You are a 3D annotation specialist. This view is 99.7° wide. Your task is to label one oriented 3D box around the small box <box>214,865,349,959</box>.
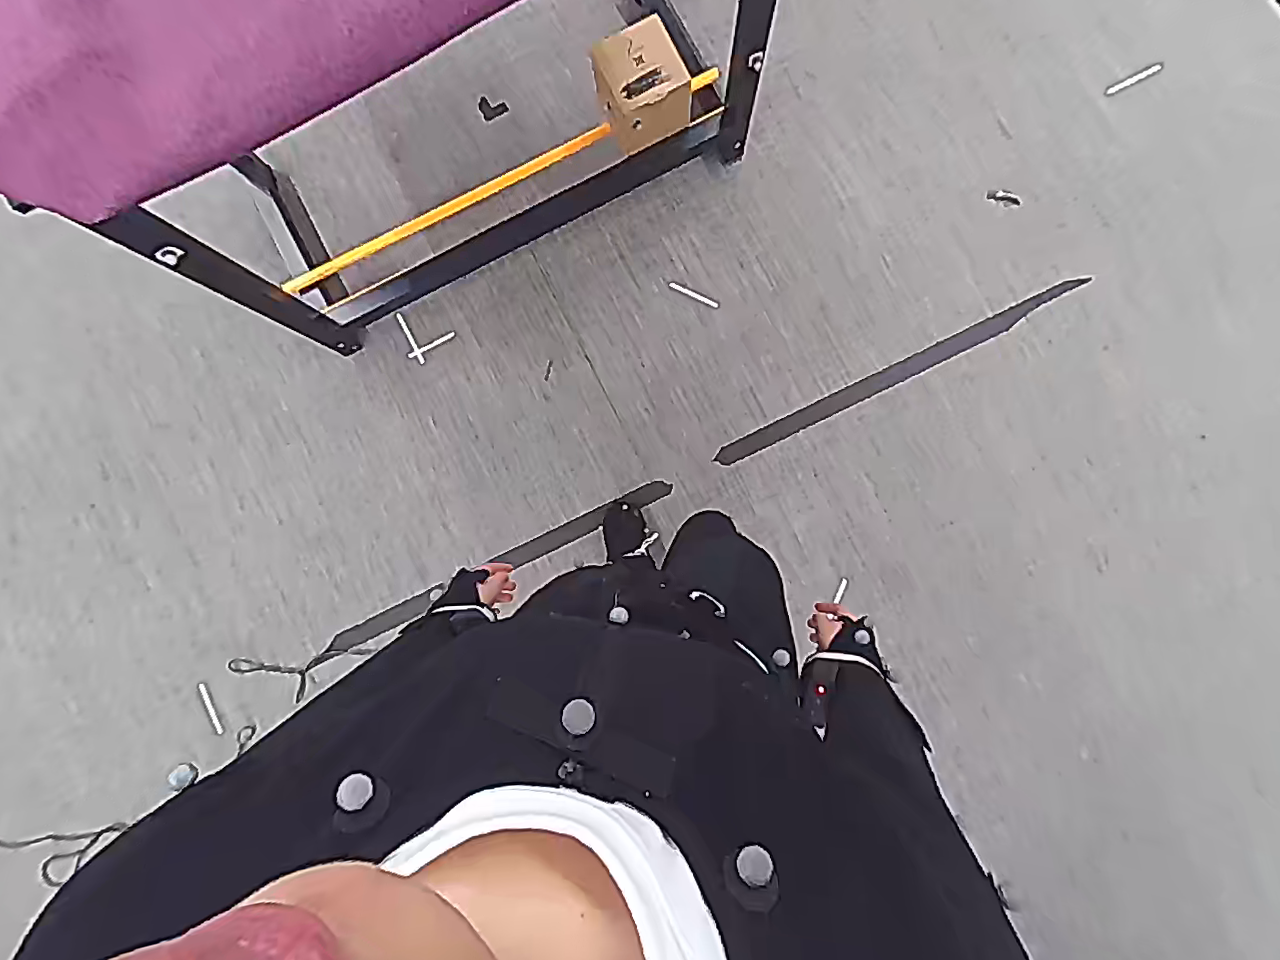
[{"bbox_3d":[-0.813,1.049,1.246,0.168,0.176,0.179,-26,86,-1],"label":"small box"}]
